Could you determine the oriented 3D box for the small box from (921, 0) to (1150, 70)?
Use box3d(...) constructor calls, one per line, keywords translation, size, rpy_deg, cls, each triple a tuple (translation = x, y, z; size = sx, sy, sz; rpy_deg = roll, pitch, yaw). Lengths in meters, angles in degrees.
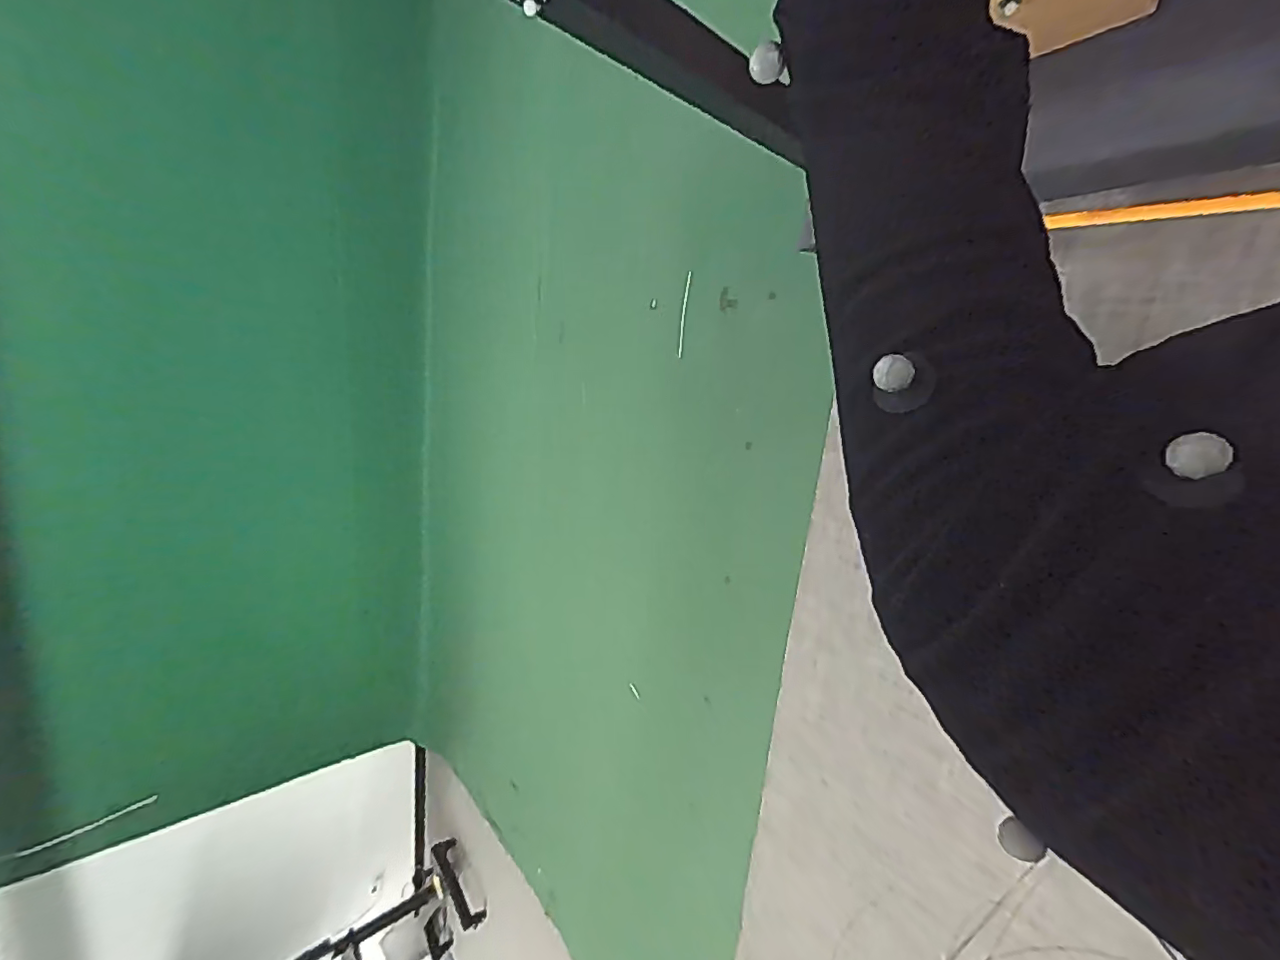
box3d(translation=(0.421, -0.572, 0.557), size=(0.179, 0.176, 0.168), rpy_deg=(11, 102, 47), cls="small box")
